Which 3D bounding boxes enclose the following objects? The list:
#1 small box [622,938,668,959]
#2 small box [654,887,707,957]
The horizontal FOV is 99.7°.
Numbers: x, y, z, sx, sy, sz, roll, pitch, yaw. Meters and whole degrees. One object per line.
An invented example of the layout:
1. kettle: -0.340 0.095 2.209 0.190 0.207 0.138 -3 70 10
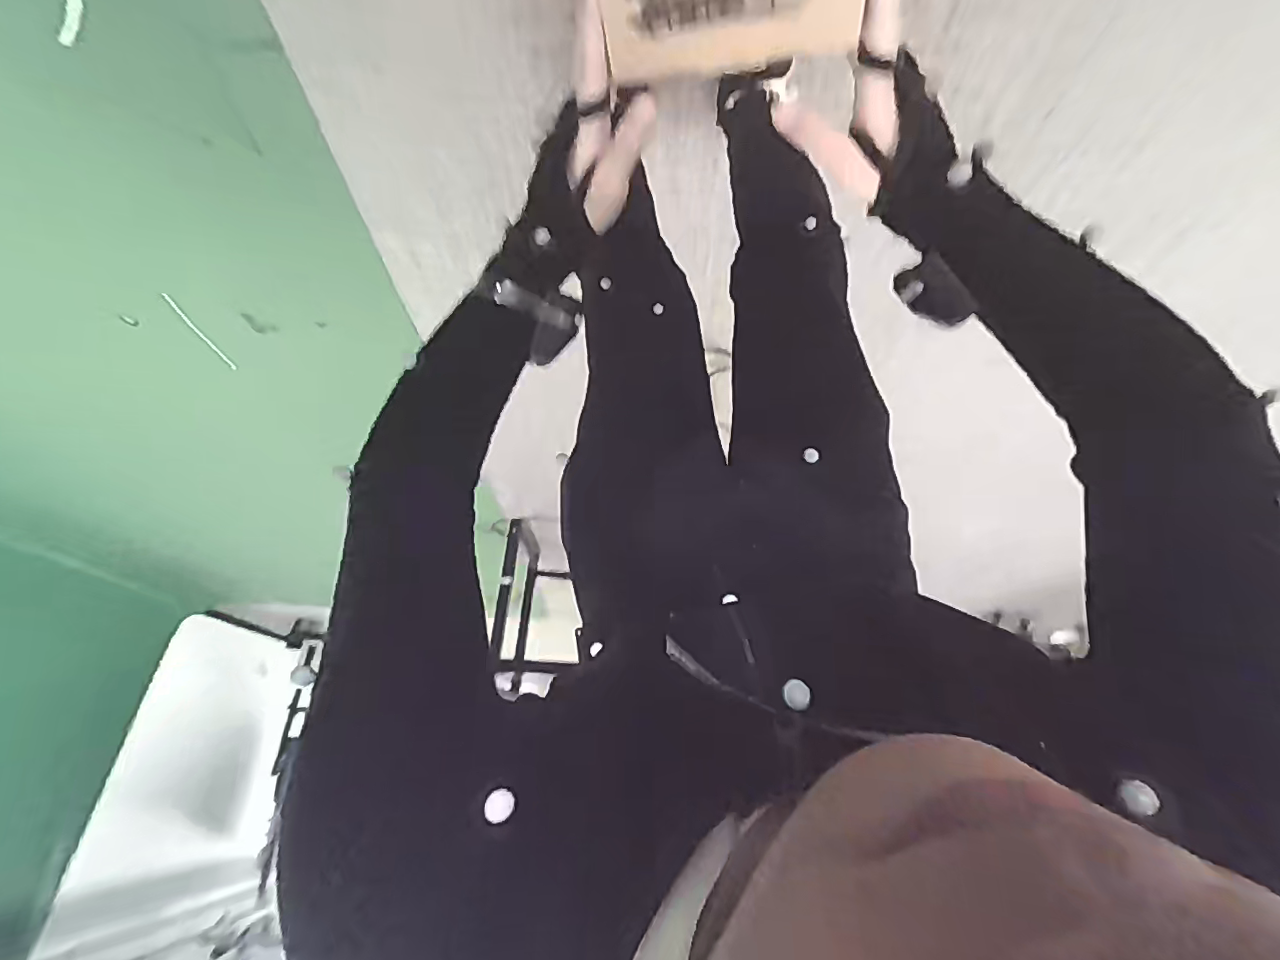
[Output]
1. small box: 0.015 1.791 1.958 0.168 0.176 0.179 3 153 2
2. small box: 0.150 1.646 2.020 0.179 0.176 0.168 5 152 -2
